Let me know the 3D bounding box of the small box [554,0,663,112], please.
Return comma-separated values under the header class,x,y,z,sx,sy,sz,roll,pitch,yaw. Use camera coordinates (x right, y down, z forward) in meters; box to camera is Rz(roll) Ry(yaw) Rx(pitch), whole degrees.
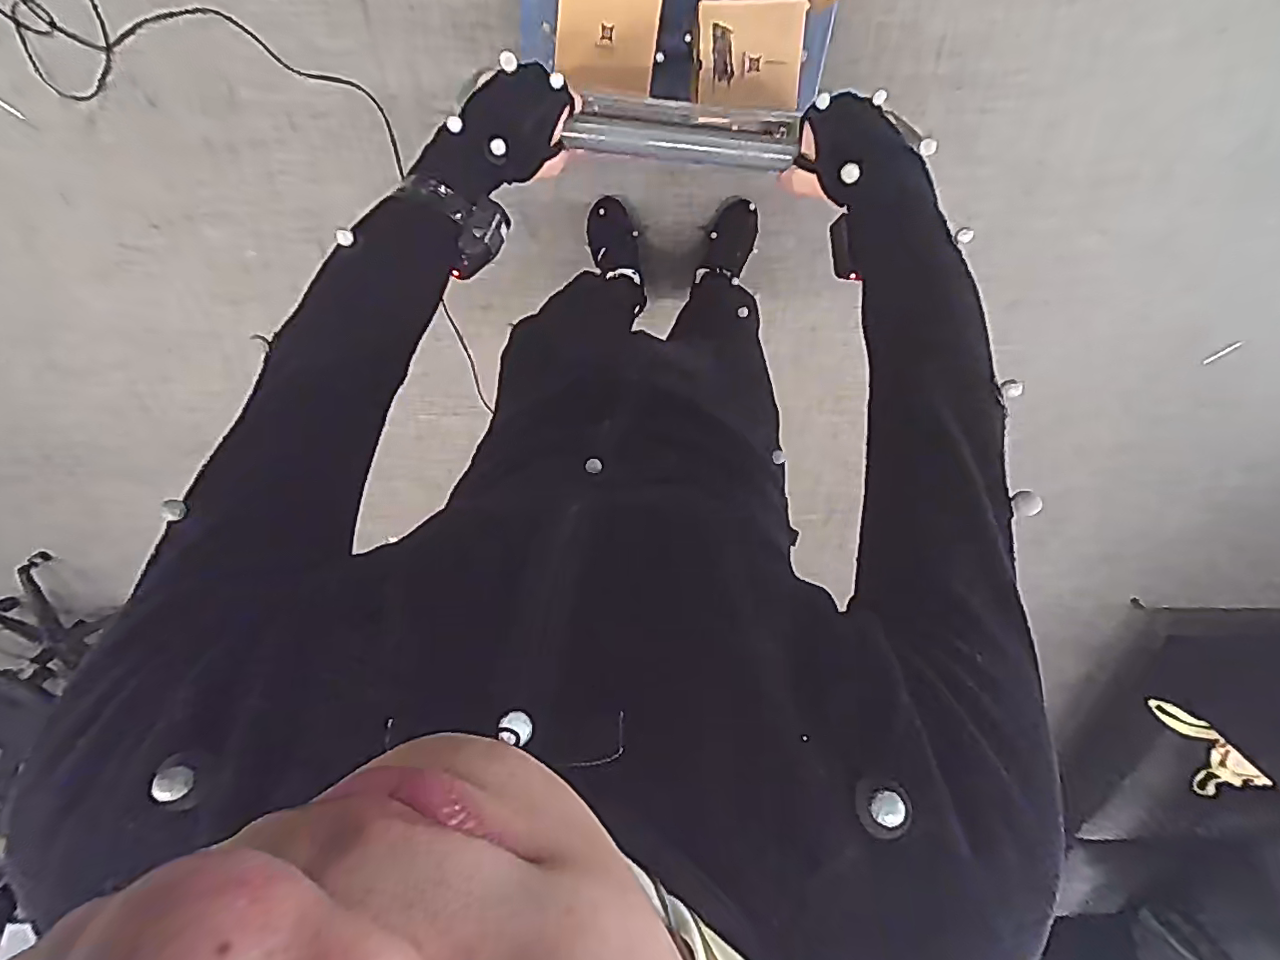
class,x,y,z,sx,sy,sz,roll,pitch,yaw
small box,-0.056,-0.771,0.956,0.168,0.176,0.179,7,123,-5
